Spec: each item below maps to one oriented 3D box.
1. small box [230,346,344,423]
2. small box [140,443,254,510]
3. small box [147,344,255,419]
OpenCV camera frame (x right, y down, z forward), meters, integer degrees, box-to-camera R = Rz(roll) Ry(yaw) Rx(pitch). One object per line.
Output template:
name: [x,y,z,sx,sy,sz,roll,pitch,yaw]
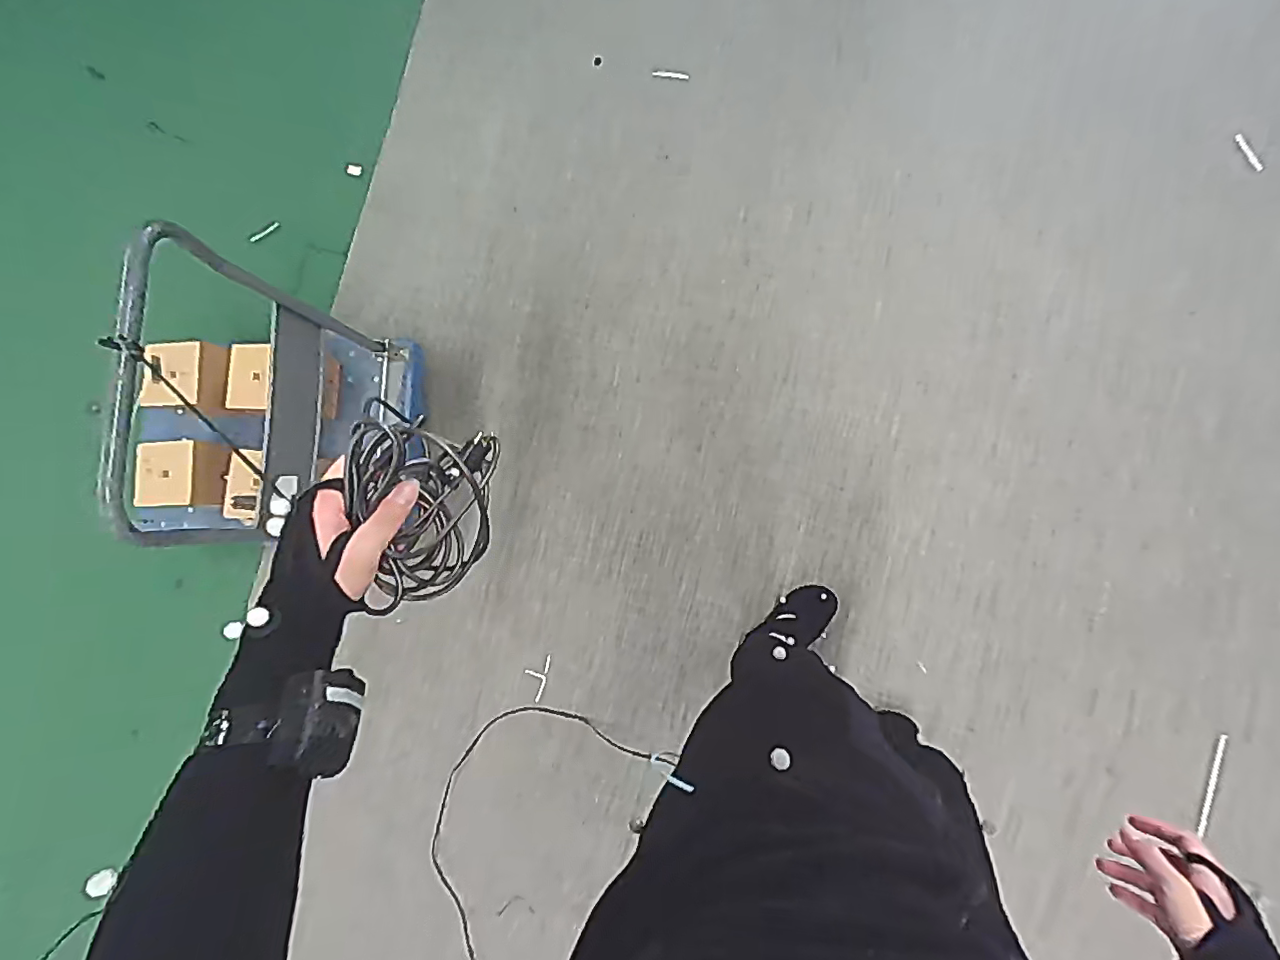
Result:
small box: [-0.924,-0.246,1.425,0.179,0.176,0.168,3,86,11]
small box: [-1.183,-0.005,1.454,0.179,0.176,0.168,-2,84,11]
small box: [-1.183,-0.262,1.476,0.179,0.176,0.168,0,86,10]
